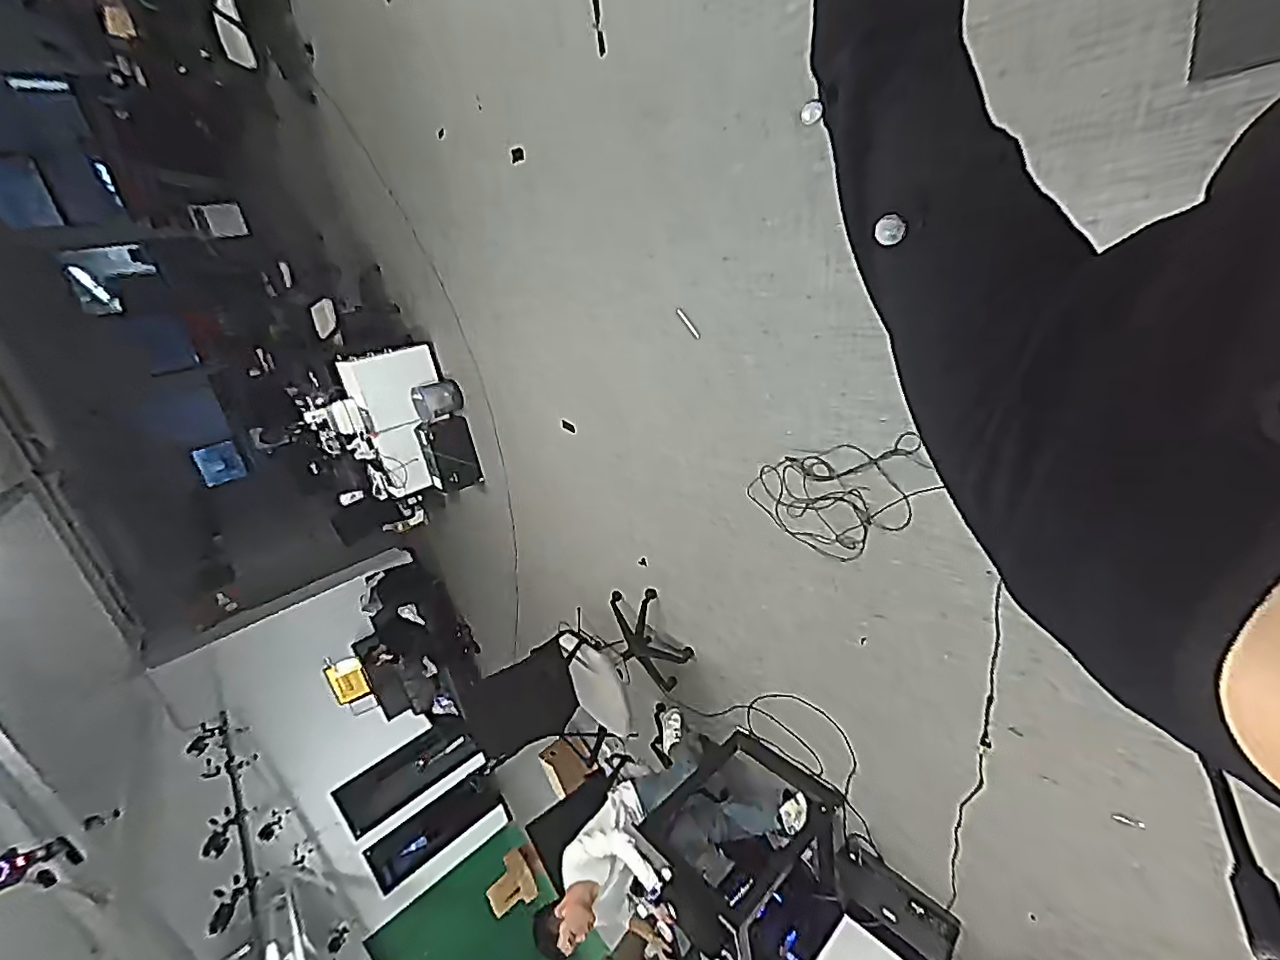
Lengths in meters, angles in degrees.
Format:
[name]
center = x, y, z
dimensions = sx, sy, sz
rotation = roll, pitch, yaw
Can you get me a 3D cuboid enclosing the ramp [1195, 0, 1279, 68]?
[ramp]
center = 0.963, -1.079, 0.523
dimensions = 0.509, 0.206, 0.991
rotation = 12, 121, 48
